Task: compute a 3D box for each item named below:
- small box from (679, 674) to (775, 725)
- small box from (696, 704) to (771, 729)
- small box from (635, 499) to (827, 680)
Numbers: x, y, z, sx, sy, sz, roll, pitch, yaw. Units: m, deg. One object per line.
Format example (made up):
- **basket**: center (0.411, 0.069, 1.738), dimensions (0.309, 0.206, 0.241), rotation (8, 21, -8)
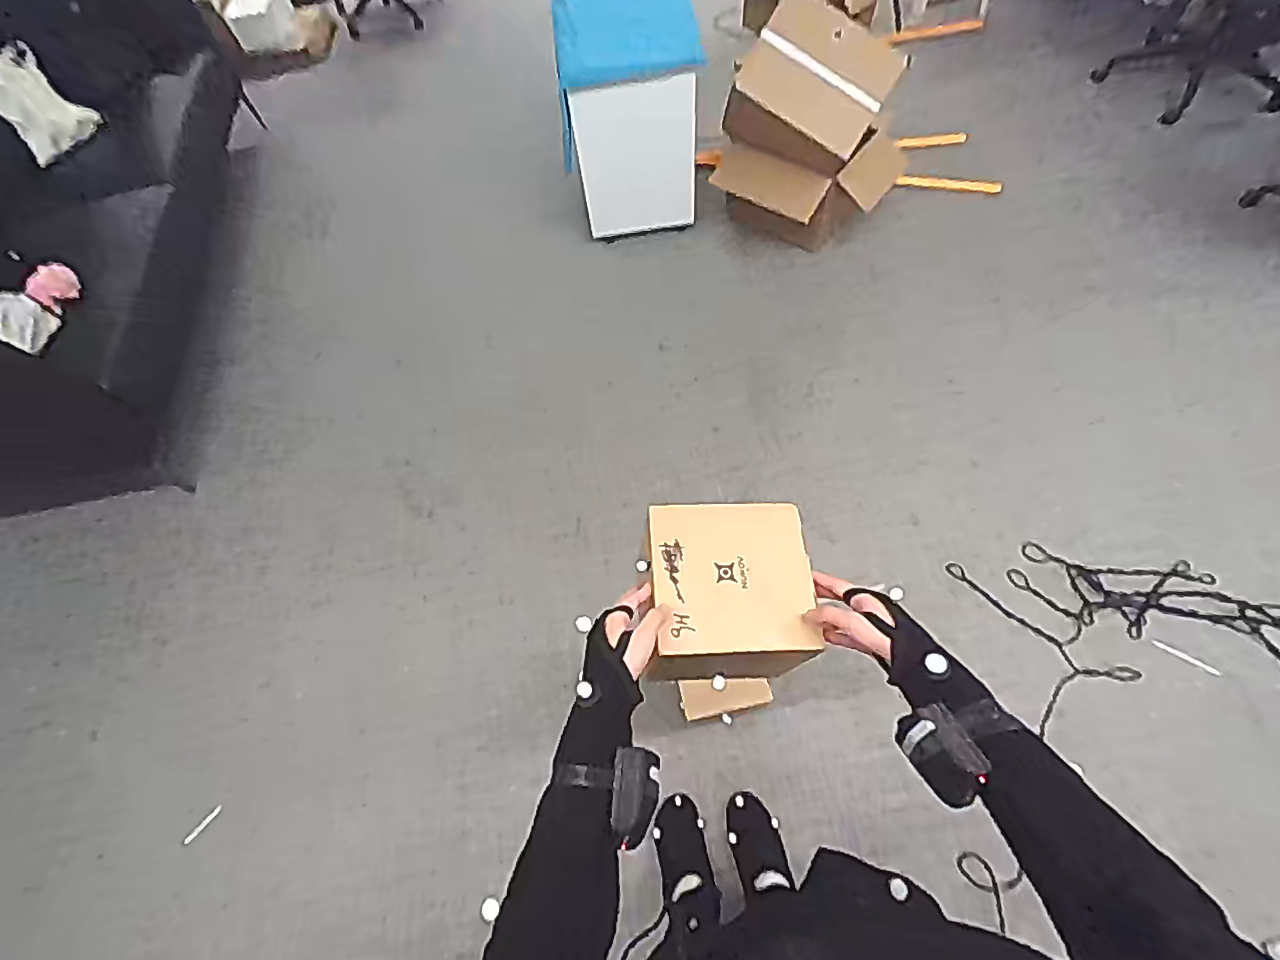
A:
- **small box**: center (0.170, 0.412, 1.141), dimensions (0.179, 0.176, 0.168), rotation (-13, 63, -1)
- **small box**: center (0.196, 0.486, 1.285), dimensions (0.179, 0.176, 0.168), rotation (-13, 62, -1)
- **small box**: center (0.091, 0.135, 0.639), dimensions (0.179, 0.176, 0.168), rotation (1, 59, -6)
